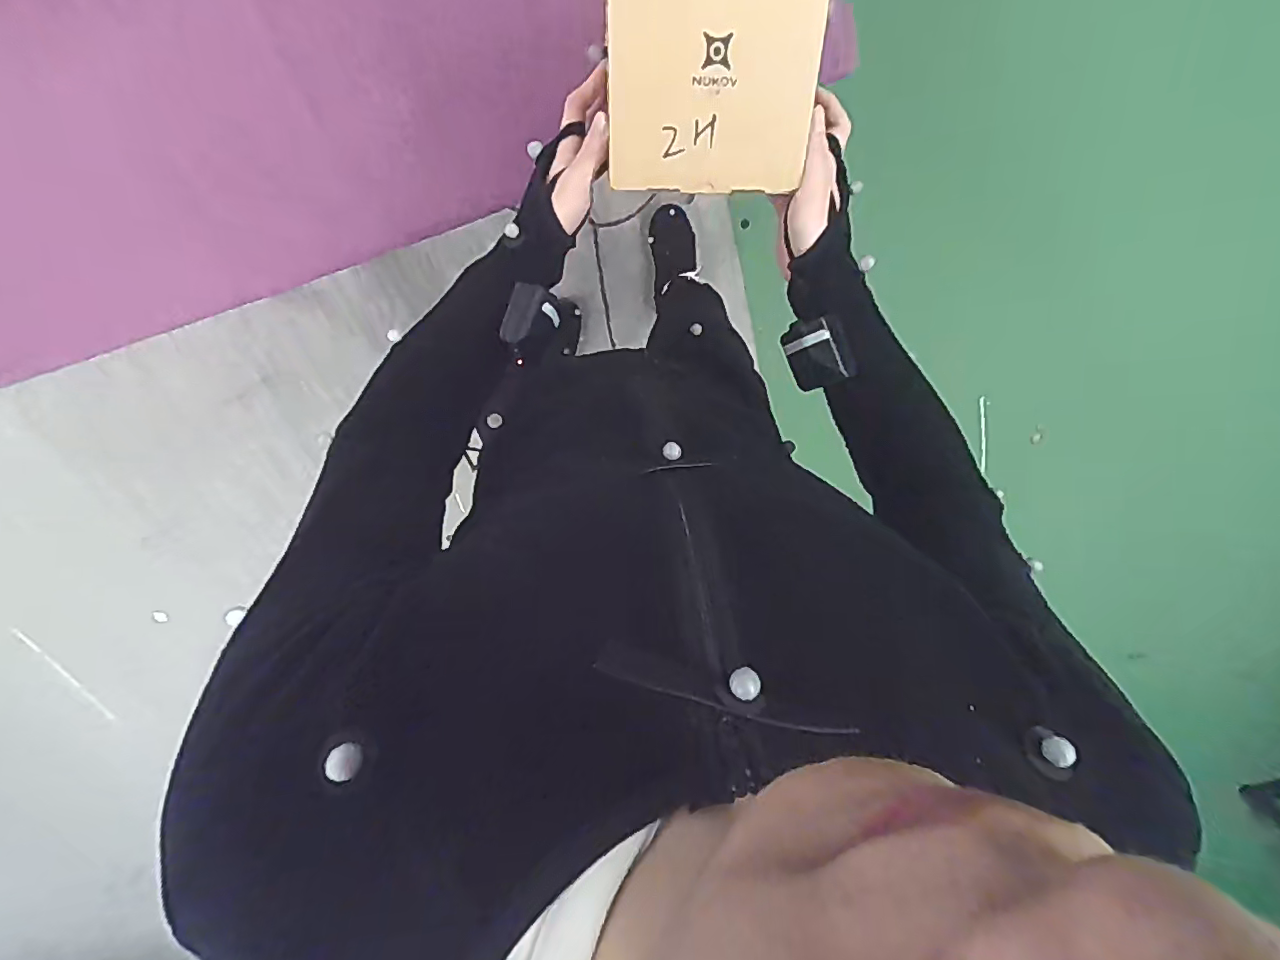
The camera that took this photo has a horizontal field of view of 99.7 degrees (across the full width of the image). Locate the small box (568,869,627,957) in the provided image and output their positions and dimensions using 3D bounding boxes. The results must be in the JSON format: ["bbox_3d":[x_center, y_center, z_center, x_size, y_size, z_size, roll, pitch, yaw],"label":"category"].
[{"bbox_3d":[-0.142,1.482,1.854,0.168,0.176,0.179,-12,115,2],"label":"small box"}]

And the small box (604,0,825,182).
[{"bbox_3d":[0.051,-0.369,0.479,0.168,0.176,0.179,0,122,-2],"label":"small box"}]
